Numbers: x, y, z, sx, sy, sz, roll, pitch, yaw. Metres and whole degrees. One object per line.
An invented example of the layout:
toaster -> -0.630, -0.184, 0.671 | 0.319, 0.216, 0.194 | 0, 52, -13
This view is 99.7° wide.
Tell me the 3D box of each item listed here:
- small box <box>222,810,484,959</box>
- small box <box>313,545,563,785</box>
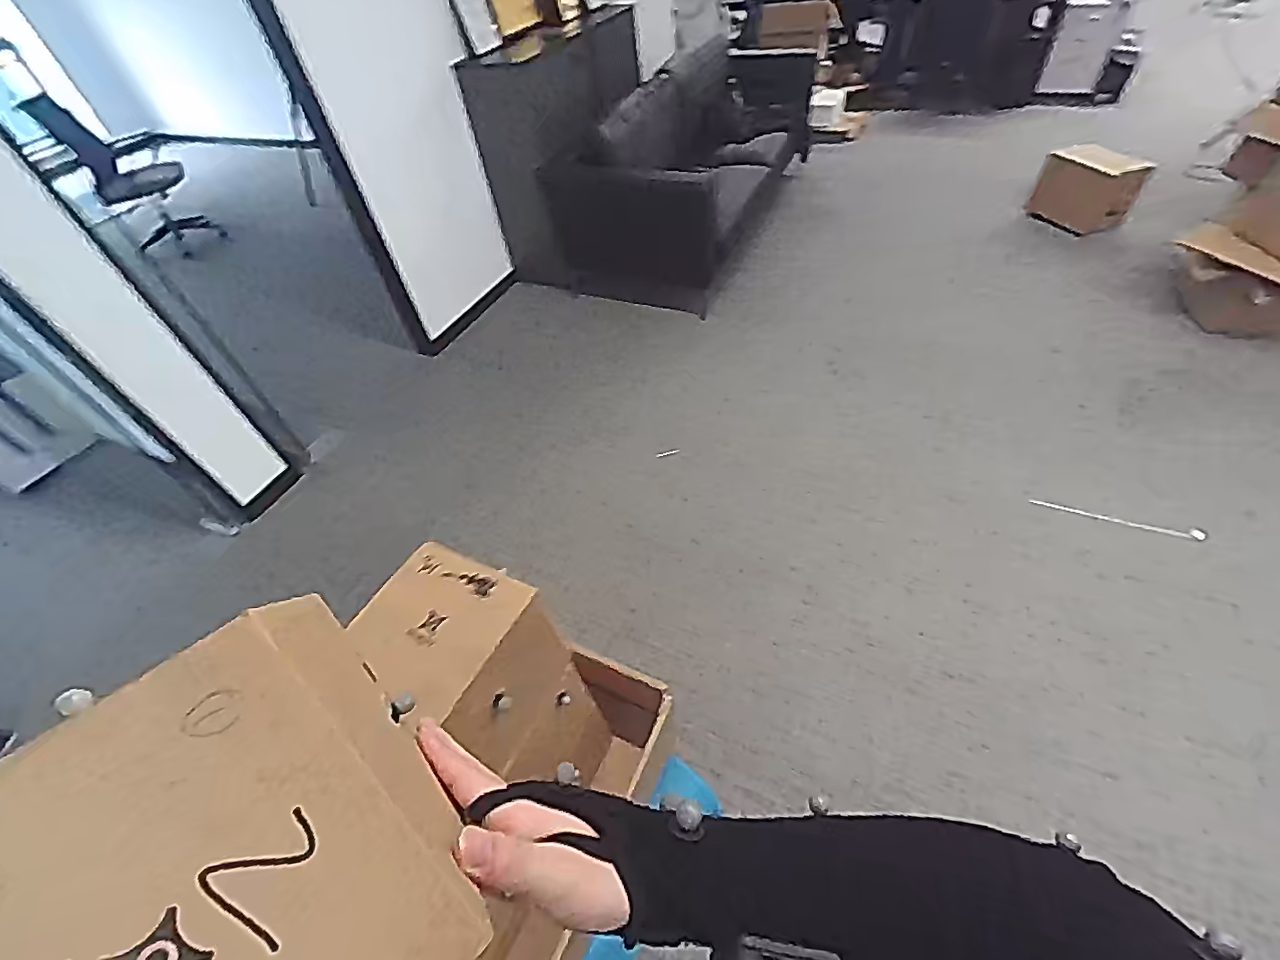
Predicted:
small box -> -0.298, 0.502, 0.582 | 0.168, 0.176, 0.179 | 16, 52, 22
small box -> -0.208, 0.210, 0.613 | 0.168, 0.176, 0.179 | 18, 54, 23
